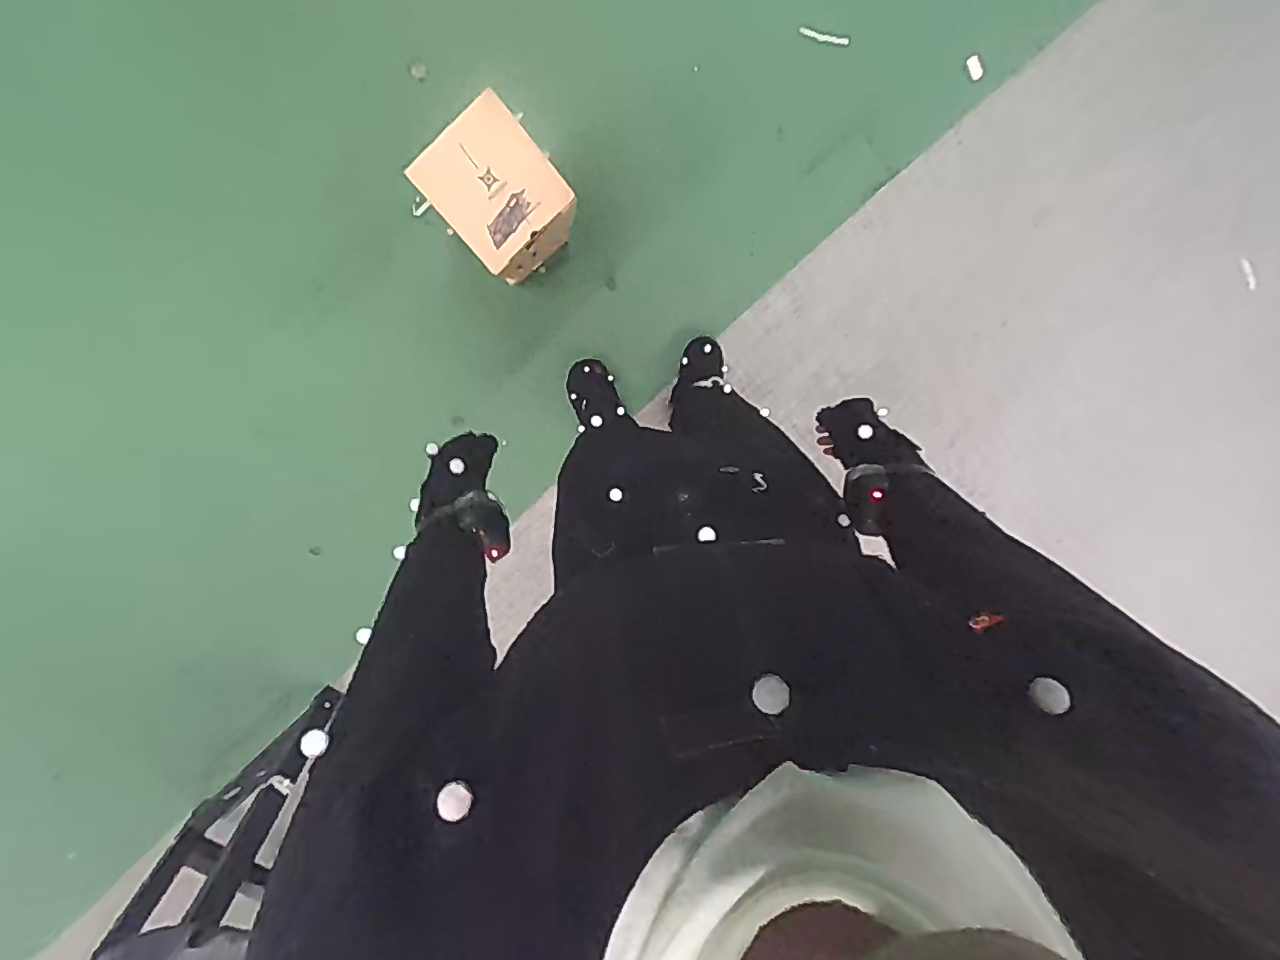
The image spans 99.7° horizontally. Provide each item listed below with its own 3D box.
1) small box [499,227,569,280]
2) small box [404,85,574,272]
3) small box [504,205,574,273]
[{"bbox_3d":[-0.264,-0.534,1.119,0.168,0.176,0.179,-37,110,7],"label":"small box"},{"bbox_3d":[-0.217,-0.442,0.827,0.168,0.176,0.179,-41,109,6],"label":"small box"},{"bbox_3d":[-0.239,-0.498,0.981,0.168,0.176,0.179,-41,109,7],"label":"small box"}]
